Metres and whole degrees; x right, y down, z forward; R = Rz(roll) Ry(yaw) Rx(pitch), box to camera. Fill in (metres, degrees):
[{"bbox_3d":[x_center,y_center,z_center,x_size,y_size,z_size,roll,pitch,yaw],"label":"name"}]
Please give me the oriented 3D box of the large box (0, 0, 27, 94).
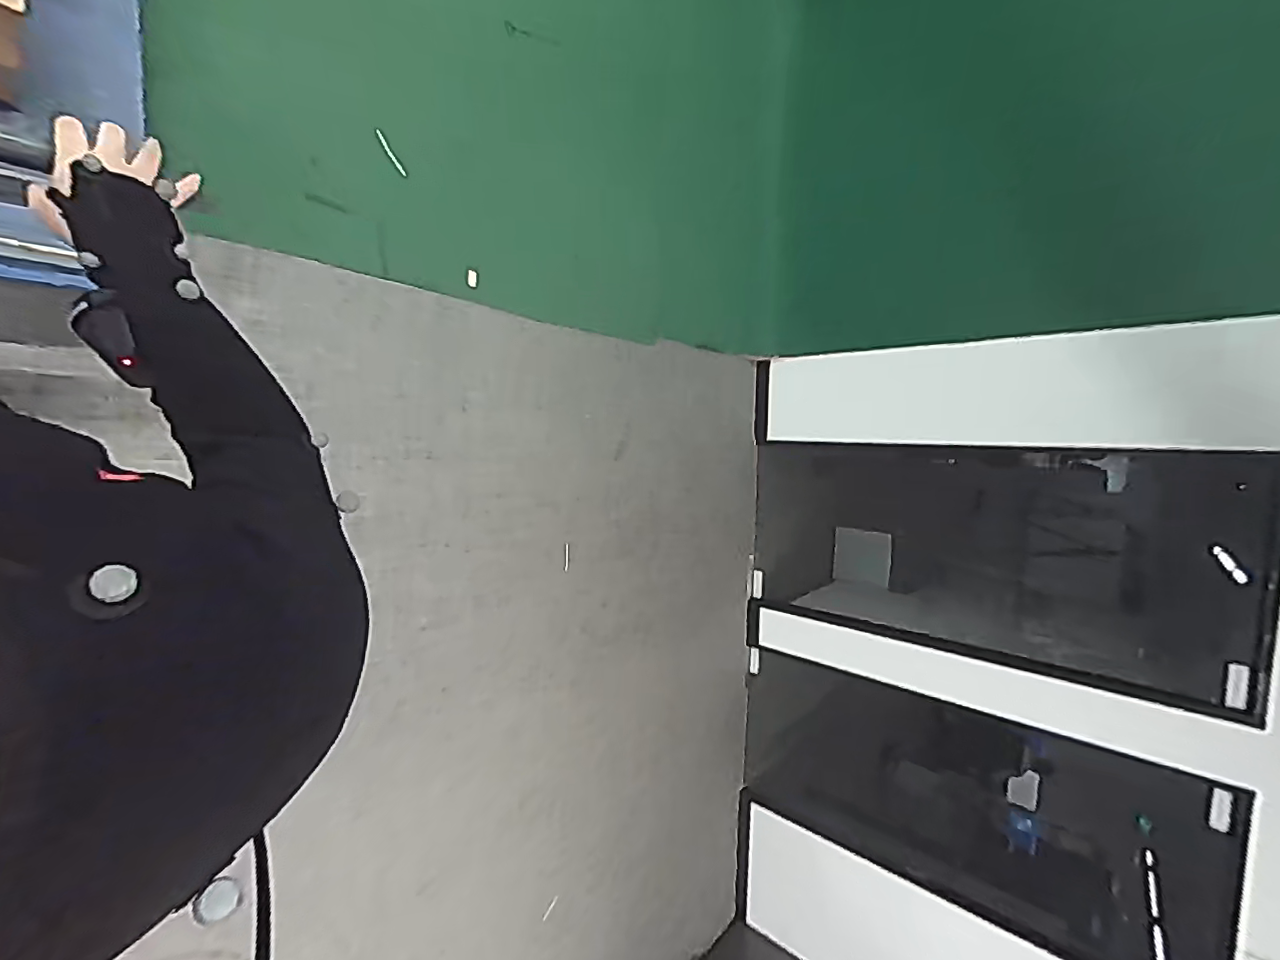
[{"bbox_3d":[-1.027,-0.762,0.627,0.408,0.320,0.320,-1,94,-51],"label":"large box"}]
